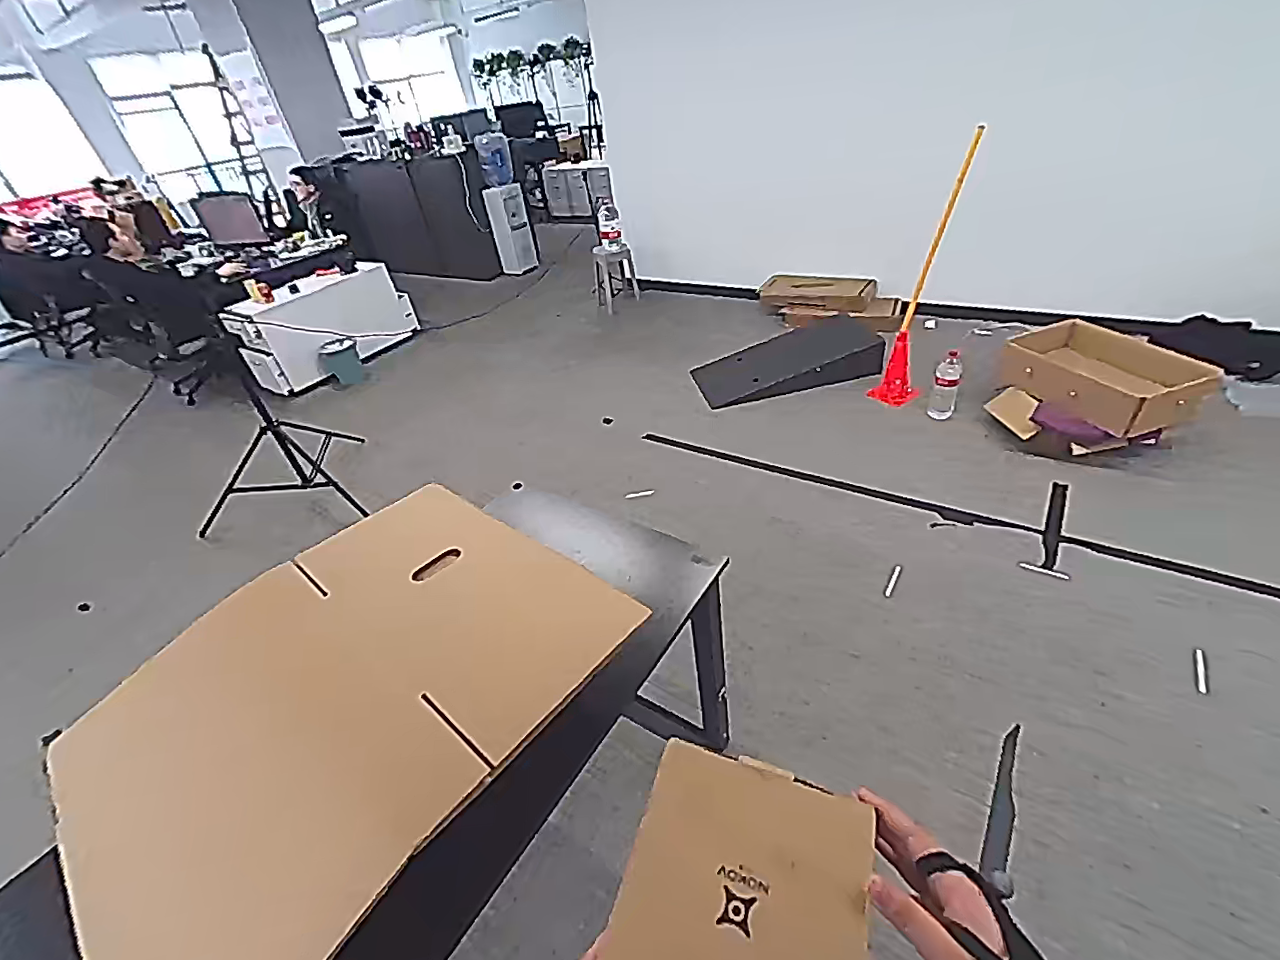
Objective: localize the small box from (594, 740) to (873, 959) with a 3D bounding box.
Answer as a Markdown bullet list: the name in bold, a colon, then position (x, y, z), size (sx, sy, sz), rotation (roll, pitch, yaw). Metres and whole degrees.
- **small box**: position (0.078, 0.349, 0.429), size (0.168, 0.176, 0.179), rotation (9, 45, 20)
